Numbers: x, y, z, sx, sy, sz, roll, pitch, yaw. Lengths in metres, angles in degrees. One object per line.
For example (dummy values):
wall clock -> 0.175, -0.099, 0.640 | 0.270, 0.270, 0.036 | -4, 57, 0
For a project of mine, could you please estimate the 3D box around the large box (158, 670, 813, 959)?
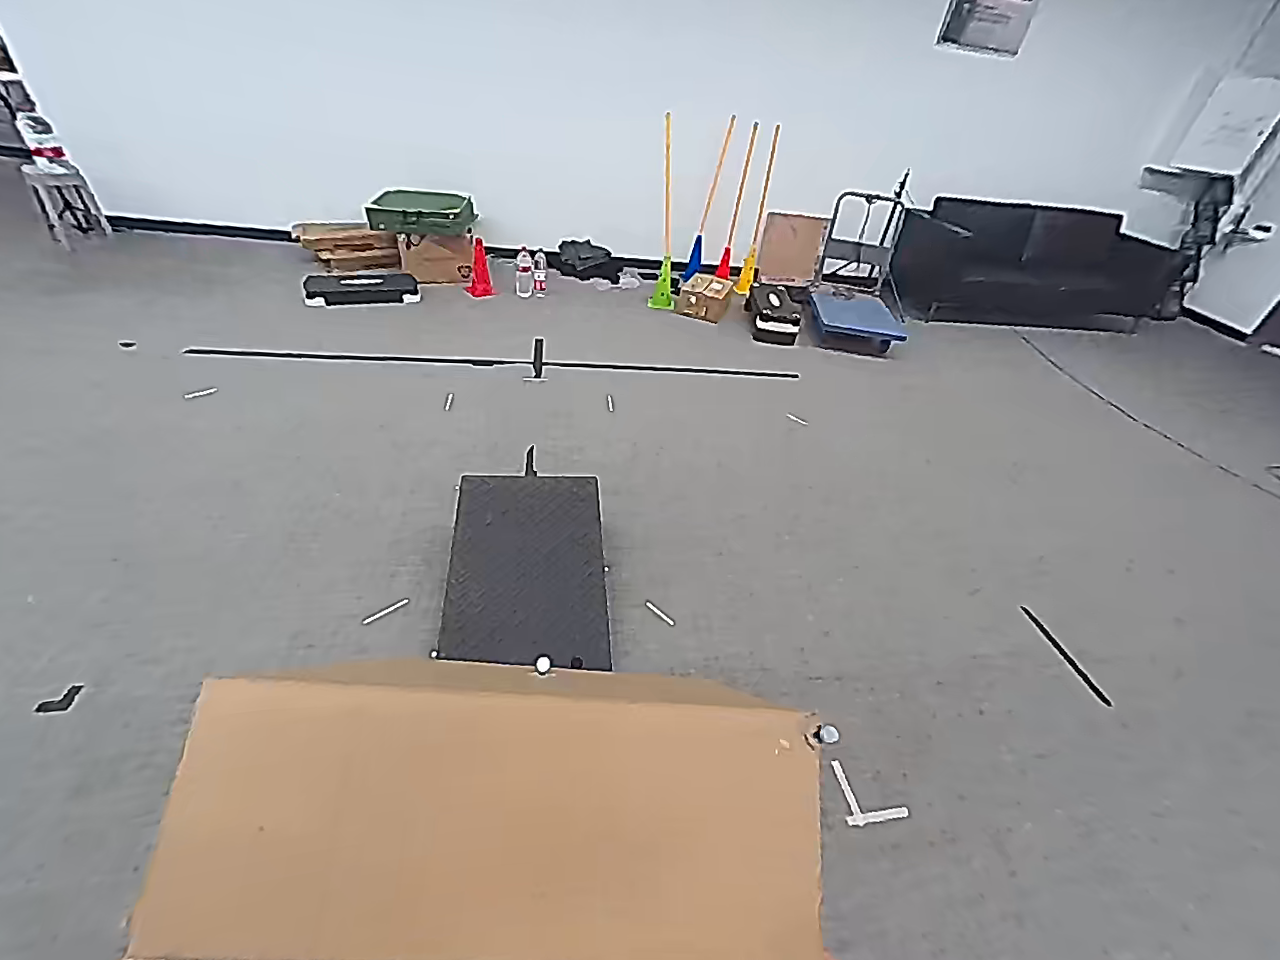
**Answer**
large box -> -0.103, 0.341, 0.472 | 0.408, 0.320, 0.320 | 5, 75, -5
